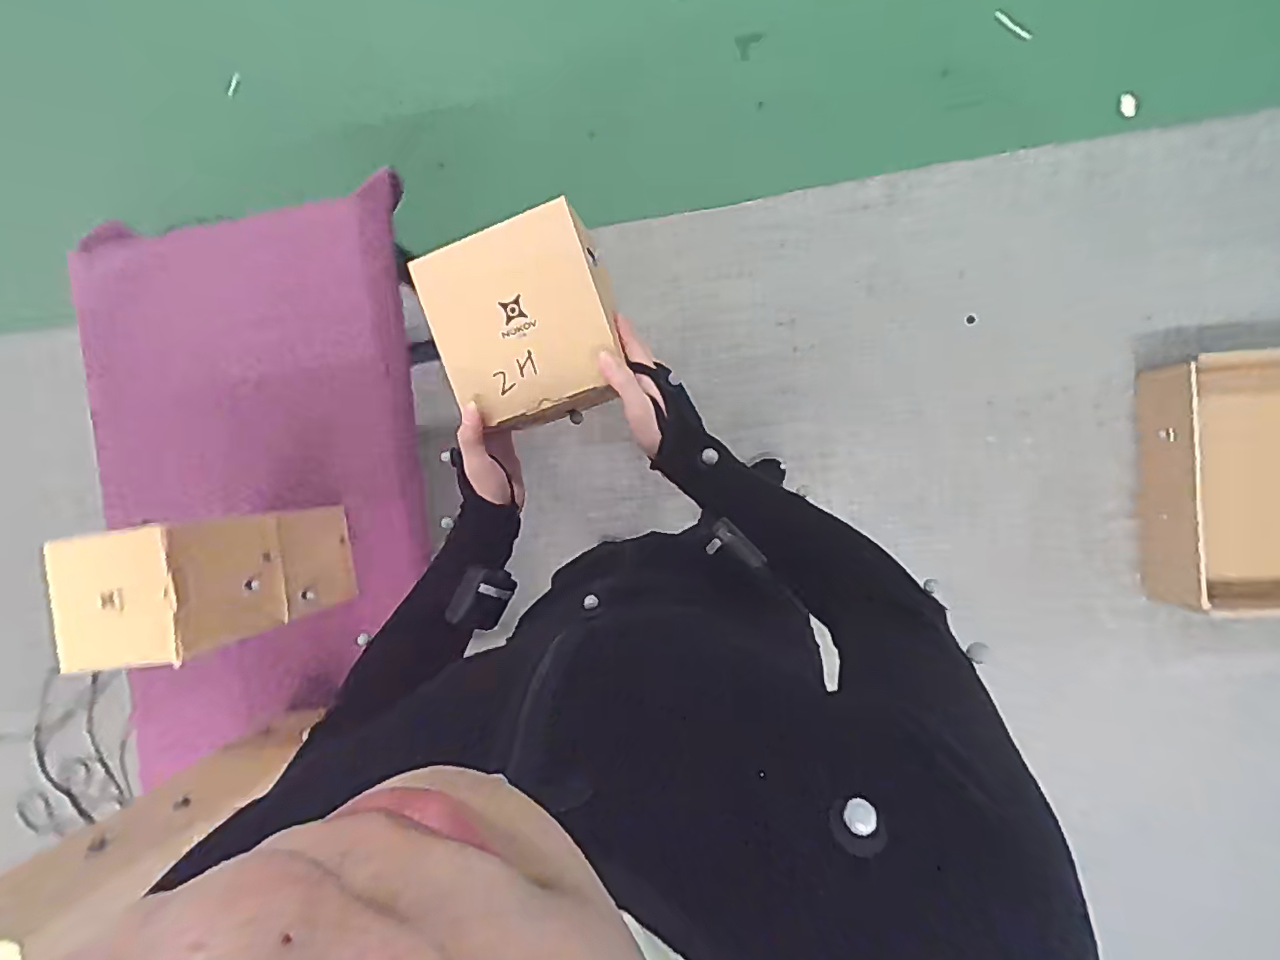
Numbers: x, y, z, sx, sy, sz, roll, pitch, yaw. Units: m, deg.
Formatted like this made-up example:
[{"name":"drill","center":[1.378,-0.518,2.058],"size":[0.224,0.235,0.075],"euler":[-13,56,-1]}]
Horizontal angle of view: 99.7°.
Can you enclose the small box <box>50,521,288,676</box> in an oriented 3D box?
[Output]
[{"name":"small box","center":[-0.631,0.153,0.741],"size":[0.179,0.176,0.168],"euler":[-9,89,8]}]

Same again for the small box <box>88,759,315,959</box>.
[{"name":"small box","center":[-0.577,0.505,0.738],"size":[0.179,0.176,0.168],"euler":[-10,90,9]}]

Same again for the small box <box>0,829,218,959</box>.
[{"name":"small box","center":[-0.608,0.509,0.577],"size":[0.179,0.176,0.168],"euler":[-10,90,9]}]

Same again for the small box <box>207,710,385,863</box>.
[{"name":"small box","center":[-0.563,0.504,0.901],"size":[0.179,0.176,0.168],"euler":[-9,90,8]}]
